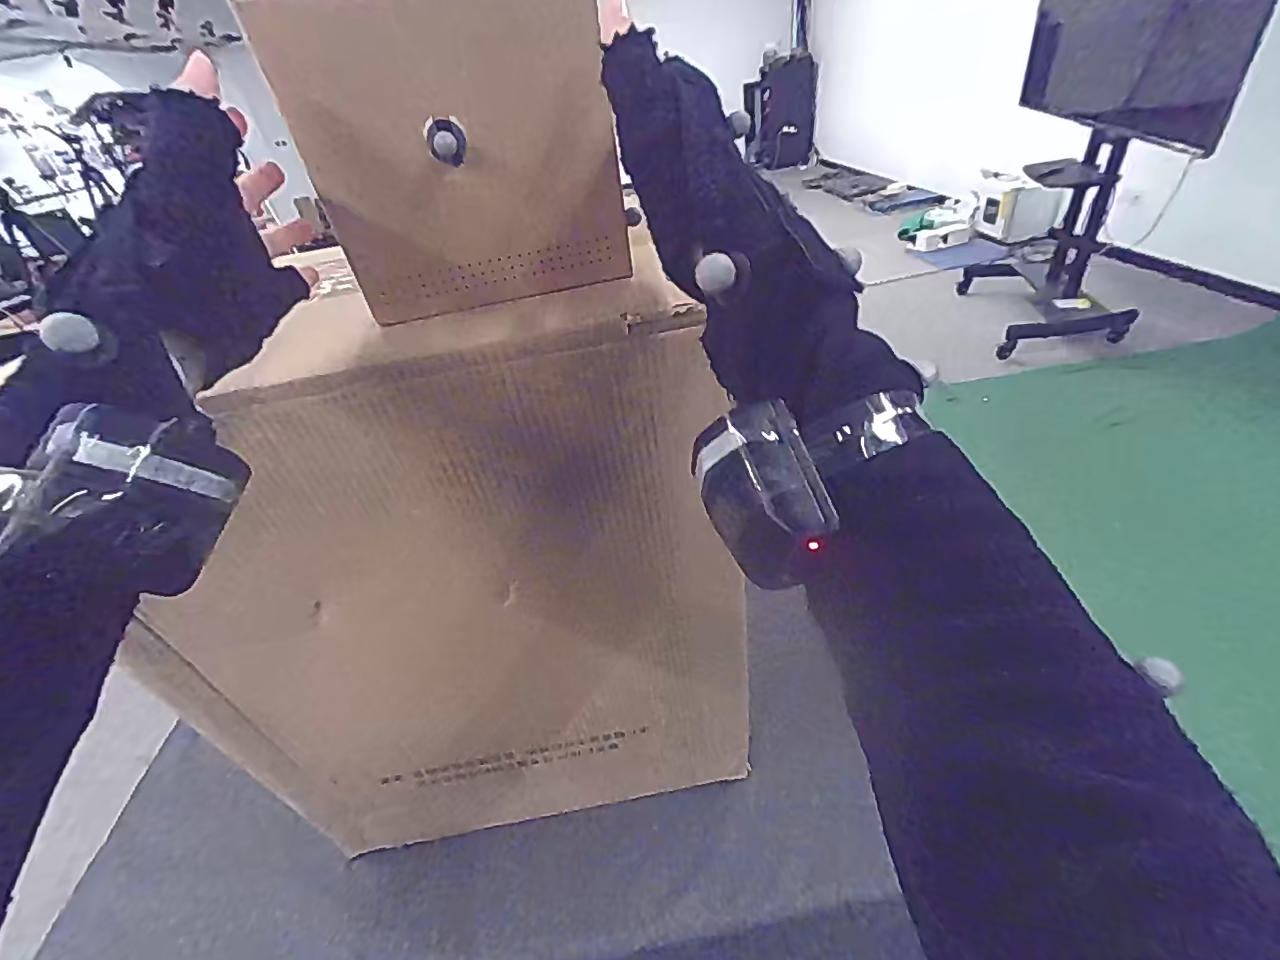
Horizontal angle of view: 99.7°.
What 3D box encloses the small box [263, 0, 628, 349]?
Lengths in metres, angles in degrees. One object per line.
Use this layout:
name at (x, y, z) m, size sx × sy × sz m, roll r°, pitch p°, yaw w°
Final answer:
small box at (-0.109, -0.214, 0.386) m, size 0.179 × 0.176 × 0.168 m, roll -13°, pitch 38°, yaw -4°
